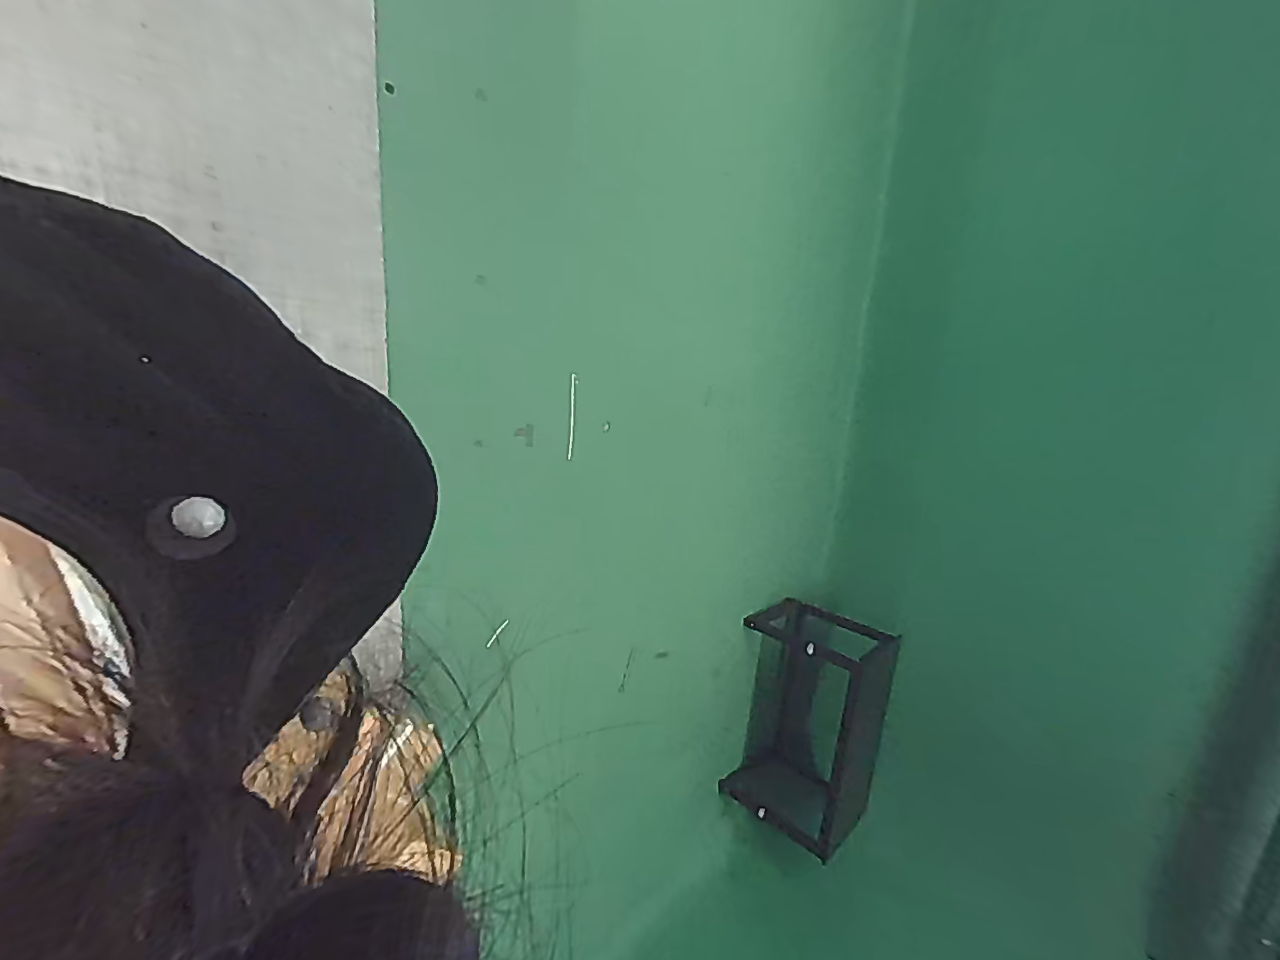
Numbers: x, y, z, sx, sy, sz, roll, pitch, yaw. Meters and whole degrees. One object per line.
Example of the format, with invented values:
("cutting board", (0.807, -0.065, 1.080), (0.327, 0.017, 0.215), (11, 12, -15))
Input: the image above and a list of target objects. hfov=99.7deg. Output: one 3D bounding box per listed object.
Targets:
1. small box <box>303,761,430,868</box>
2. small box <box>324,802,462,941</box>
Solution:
("small box", (-0.640, 0.799, 1.267), (0.168, 0.176, 0.179), (-50, 133, -26))
("small box", (-0.526, 0.829, 1.155), (0.168, 0.176, 0.179), (-53, 134, -25))
